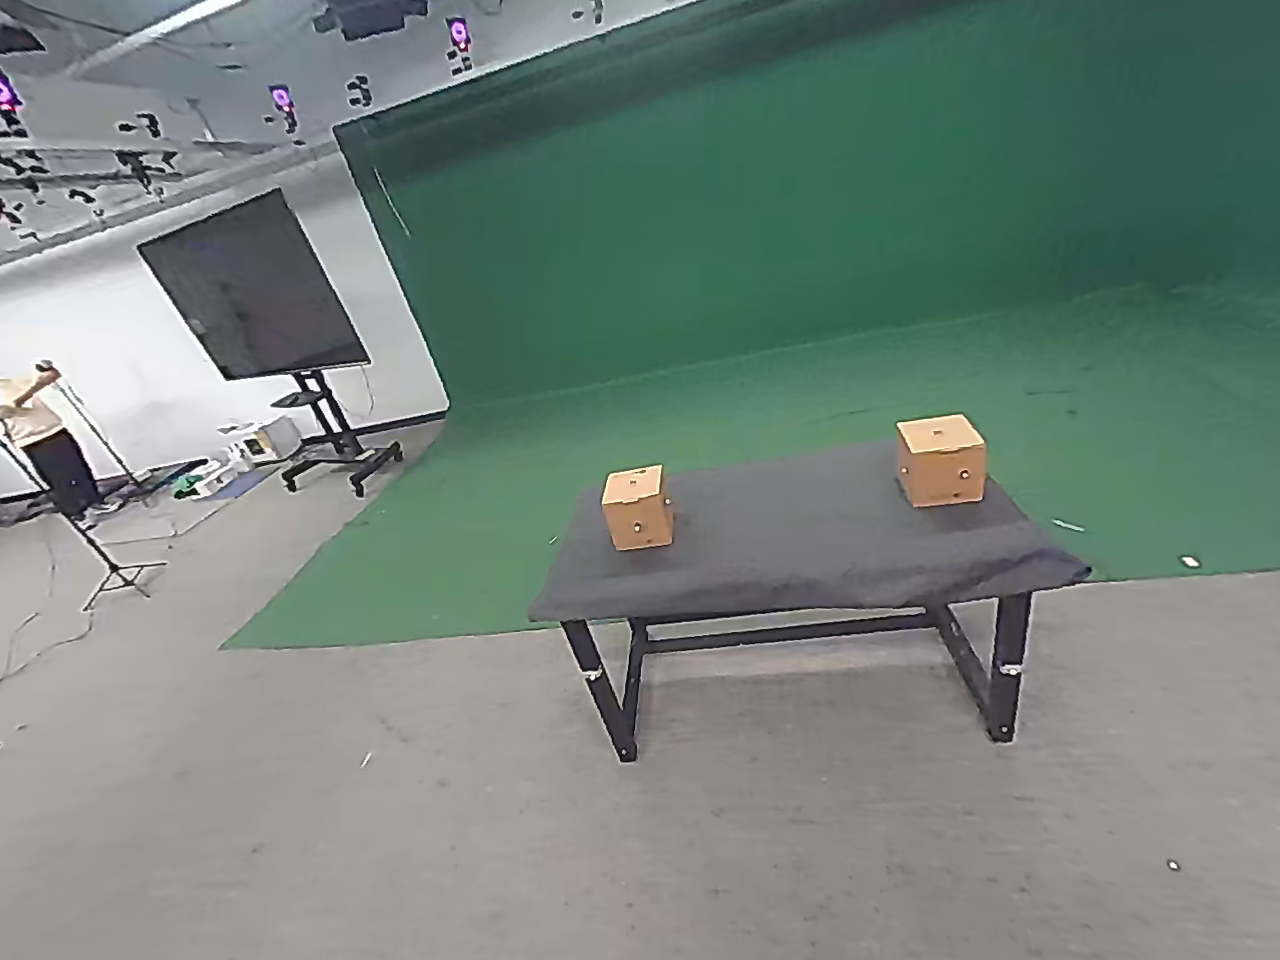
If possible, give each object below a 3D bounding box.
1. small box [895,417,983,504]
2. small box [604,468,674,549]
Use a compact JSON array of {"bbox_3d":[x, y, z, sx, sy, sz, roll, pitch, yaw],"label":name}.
[{"bbox_3d":[0.784,-0.046,1.429,0.168,0.176,0.179,-7,28,14],"label":"small box"},{"bbox_3d":[0.003,0.089,1.587,0.168,0.176,0.179,-9,29,11],"label":"small box"}]
